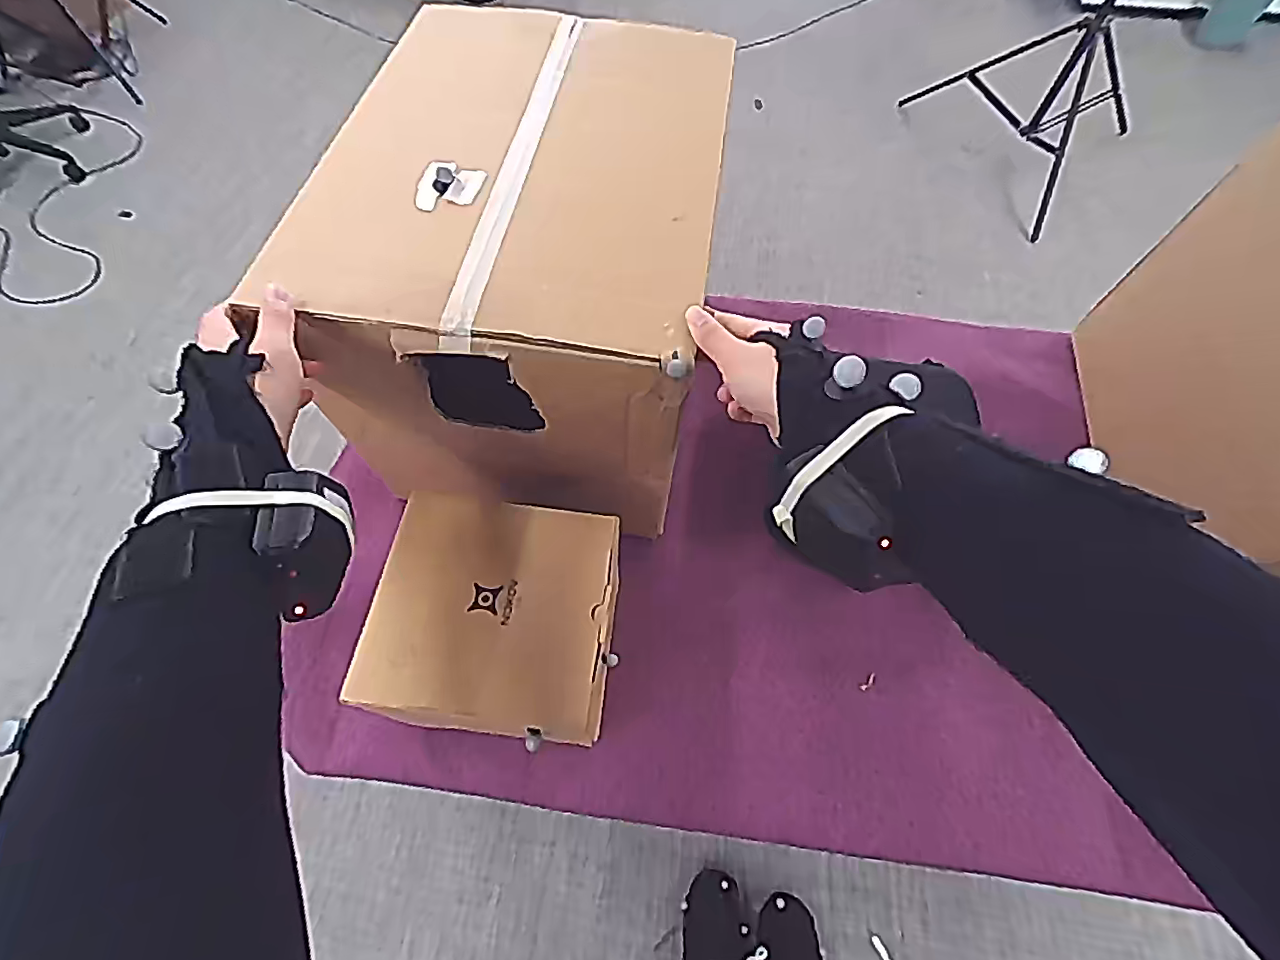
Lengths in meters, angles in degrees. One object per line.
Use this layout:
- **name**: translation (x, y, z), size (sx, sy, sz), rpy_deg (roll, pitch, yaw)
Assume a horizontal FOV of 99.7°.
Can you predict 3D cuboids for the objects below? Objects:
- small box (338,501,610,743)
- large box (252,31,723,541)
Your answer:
- **small box**: translation (-0.124, 0.136, 0.488), size (0.179, 0.176, 0.168), rpy_deg (7, 61, -1)
- **large box**: translation (-0.099, -0.187, 0.585), size (0.320, 0.320, 0.408), rpy_deg (7, 64, 3)
